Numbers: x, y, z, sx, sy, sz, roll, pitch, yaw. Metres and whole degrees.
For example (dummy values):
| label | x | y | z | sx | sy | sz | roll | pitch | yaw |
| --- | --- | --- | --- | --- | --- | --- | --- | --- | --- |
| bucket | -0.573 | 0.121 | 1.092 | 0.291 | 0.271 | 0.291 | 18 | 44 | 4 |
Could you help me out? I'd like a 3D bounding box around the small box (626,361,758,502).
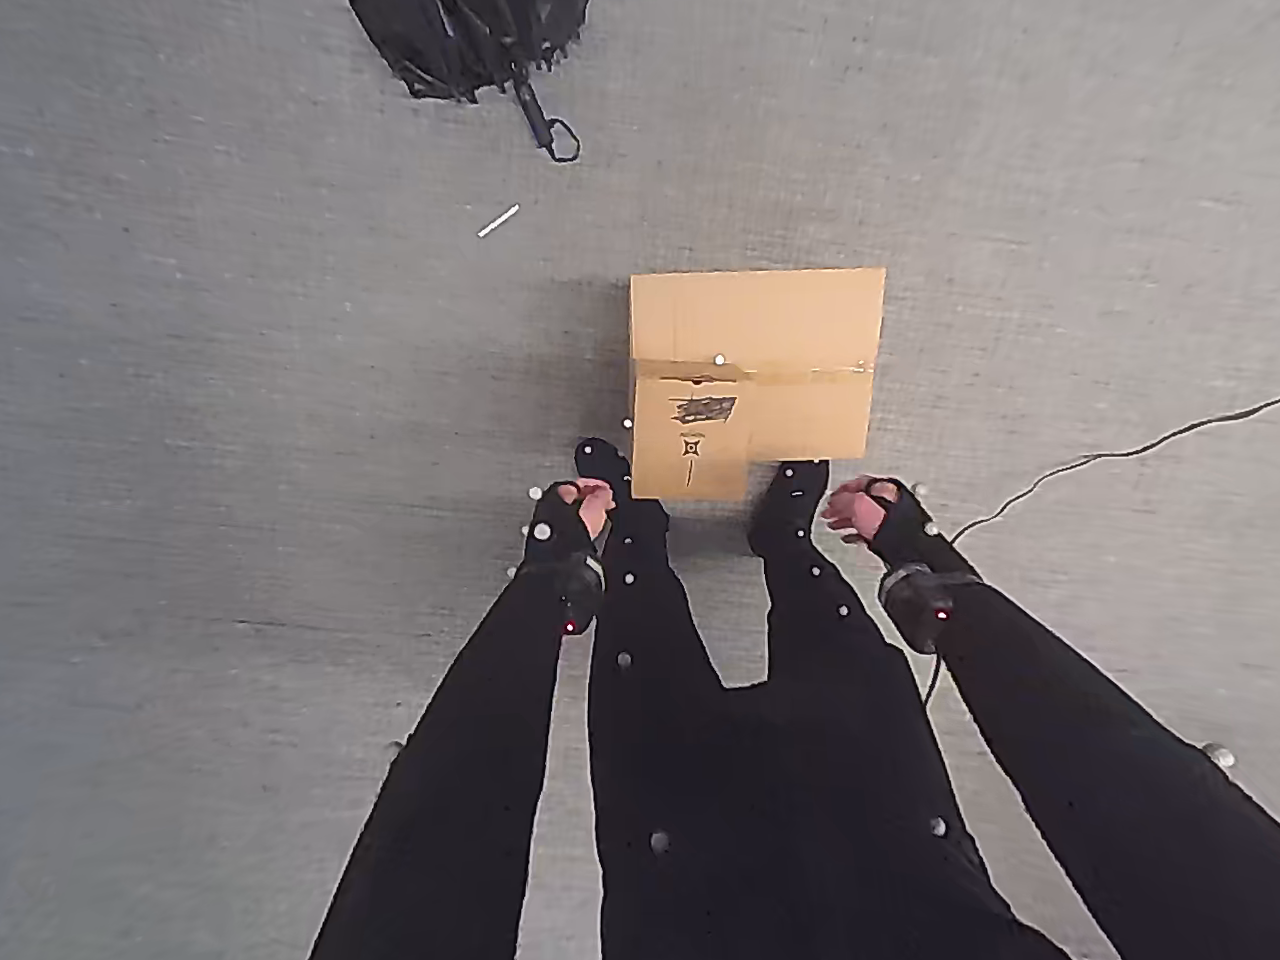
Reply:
| label | x | y | z | sx | sy | sz | roll | pitch | yaw |
| --- | --- | --- | --- | --- | --- | --- | --- | --- | --- |
| small box | 0.066 | -0.080 | 0.810 | 0.168 | 0.176 | 0.179 | 3 | 110 | -3 |
